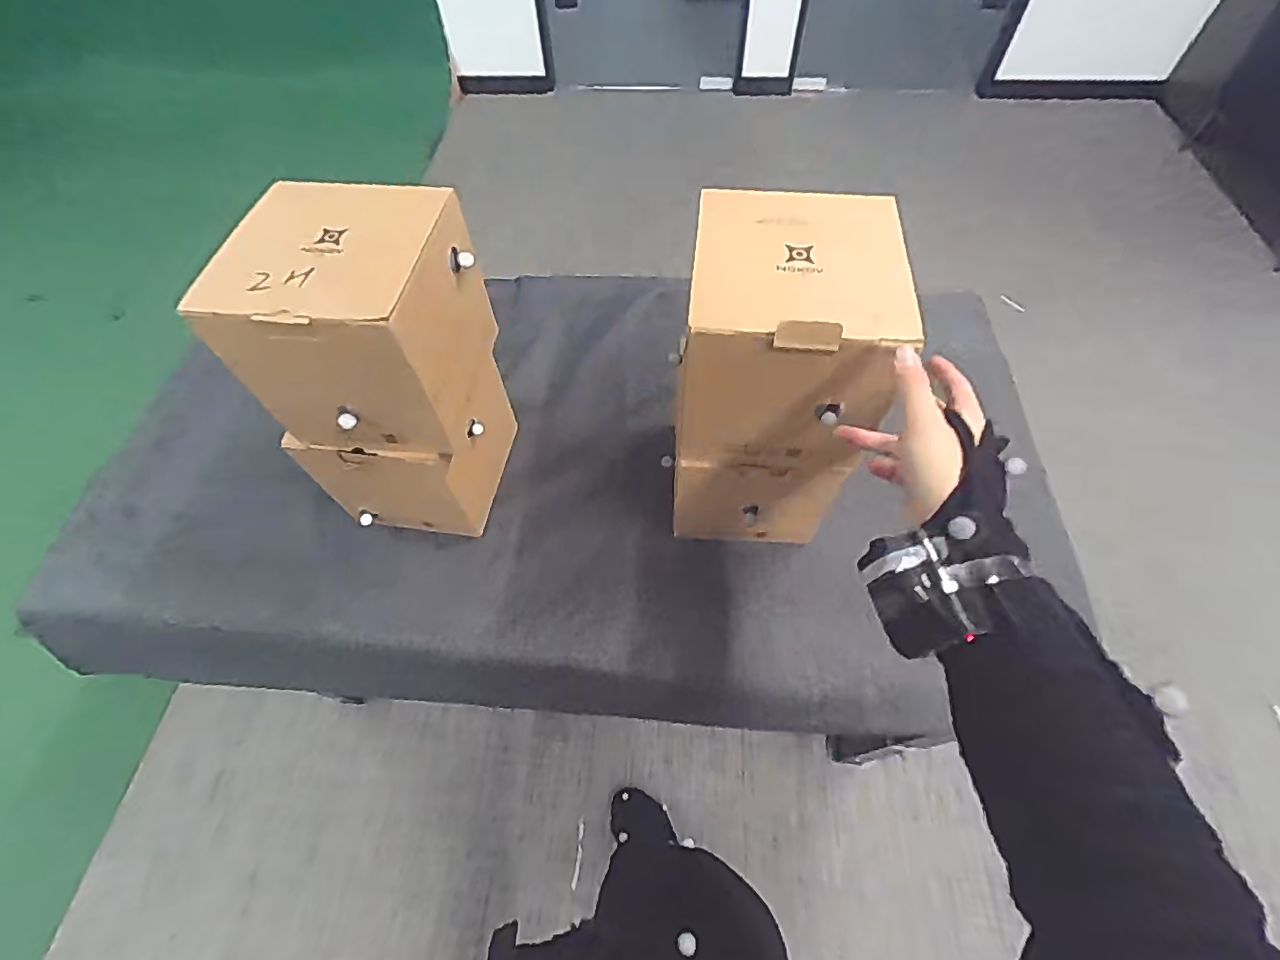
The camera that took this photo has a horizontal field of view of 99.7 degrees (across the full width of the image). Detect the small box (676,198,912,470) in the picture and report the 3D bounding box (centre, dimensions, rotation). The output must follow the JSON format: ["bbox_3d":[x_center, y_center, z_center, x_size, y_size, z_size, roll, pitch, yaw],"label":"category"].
[{"bbox_3d":[0.122,-0.126,0.494,0.168,0.176,0.179,5,57,4],"label":"small box"}]

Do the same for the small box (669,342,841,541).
[{"bbox_3d":[0.121,-0.040,0.632,0.168,0.176,0.179,2,58,3],"label":"small box"}]

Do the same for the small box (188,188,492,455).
[{"bbox_3d":[-0.252,-0.146,0.514,0.168,0.176,0.179,4,58,4],"label":"small box"}]

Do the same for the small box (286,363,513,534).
[{"bbox_3d":[-0.265,-0.052,0.650,0.168,0.176,0.179,7,57,5],"label":"small box"}]
